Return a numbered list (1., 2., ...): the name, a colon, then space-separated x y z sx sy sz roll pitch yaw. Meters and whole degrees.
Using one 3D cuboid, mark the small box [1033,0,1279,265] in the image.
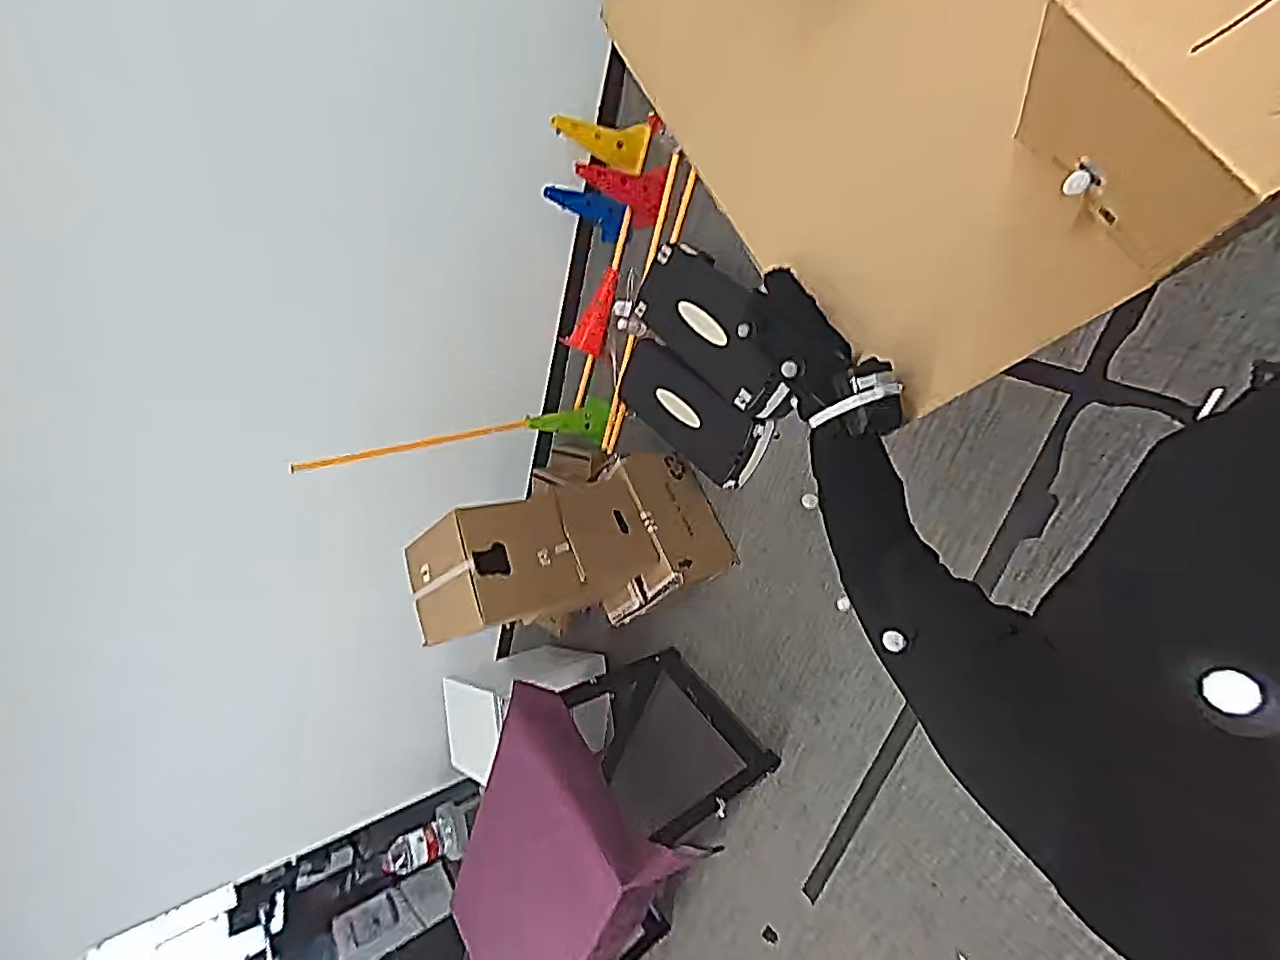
1. small box: 0.376 -0.263 0.319 0.179 0.176 0.168 -36 77 28
